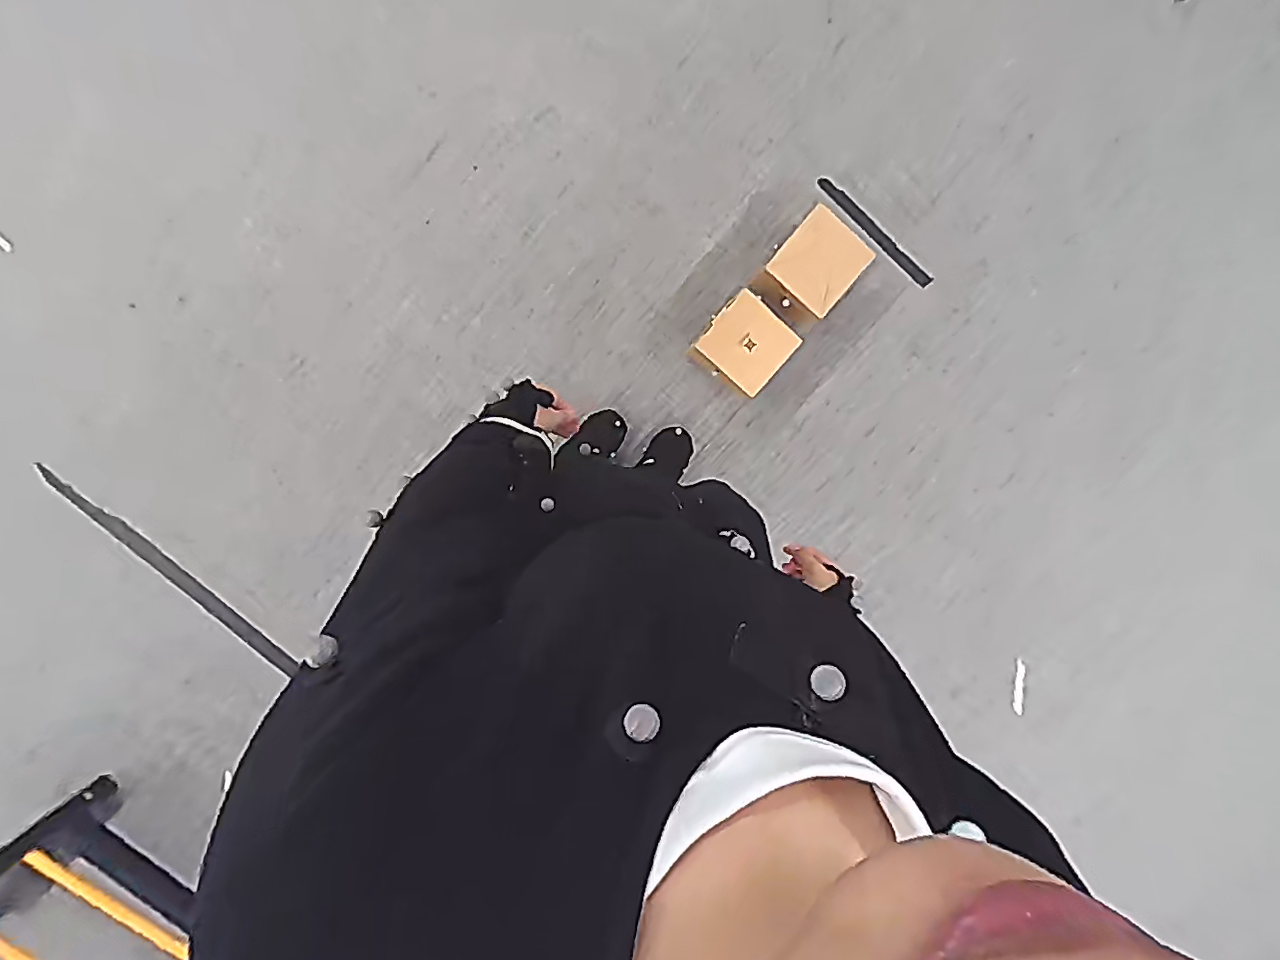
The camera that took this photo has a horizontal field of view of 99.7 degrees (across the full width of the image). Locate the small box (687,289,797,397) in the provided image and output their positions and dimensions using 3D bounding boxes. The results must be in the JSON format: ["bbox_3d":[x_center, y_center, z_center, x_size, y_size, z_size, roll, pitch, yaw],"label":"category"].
[{"bbox_3d":[0.230,-0.313,1.261,0.179,0.176,0.168,41,96,-6],"label":"small box"}]

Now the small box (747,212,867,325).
[{"bbox_3d":[0.377,-0.480,1.232,0.168,0.176,0.179,40,96,-6],"label":"small box"}]
